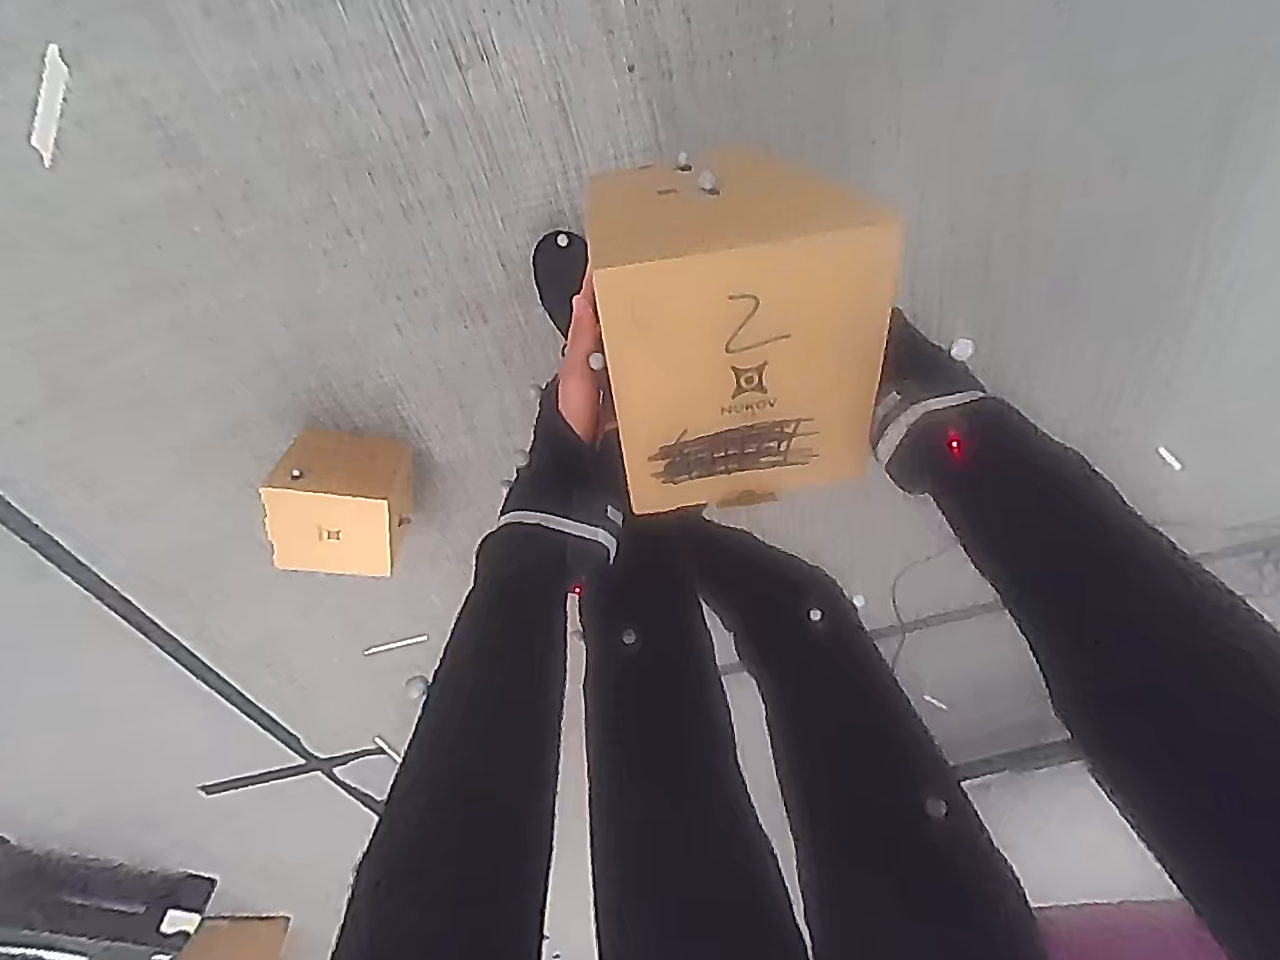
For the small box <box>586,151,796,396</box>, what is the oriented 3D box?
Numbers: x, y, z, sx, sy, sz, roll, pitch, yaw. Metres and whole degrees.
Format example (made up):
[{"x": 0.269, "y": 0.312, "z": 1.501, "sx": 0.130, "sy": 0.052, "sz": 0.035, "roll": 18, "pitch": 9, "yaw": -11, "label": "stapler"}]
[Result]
[{"x": 0.043, "y": -0.208, "z": 0.528, "sx": 0.168, "sy": 0.176, "sz": 0.179, "roll": -10, "pitch": 127, "yaw": 1, "label": "small box"}]

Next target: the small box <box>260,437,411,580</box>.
[{"x": -0.485, "y": 0.045, "z": 0.896, "sx": 0.179, "sy": 0.176, "sz": 0.168, "roll": 7, "pitch": 124, "yaw": -13, "label": "small box"}]
